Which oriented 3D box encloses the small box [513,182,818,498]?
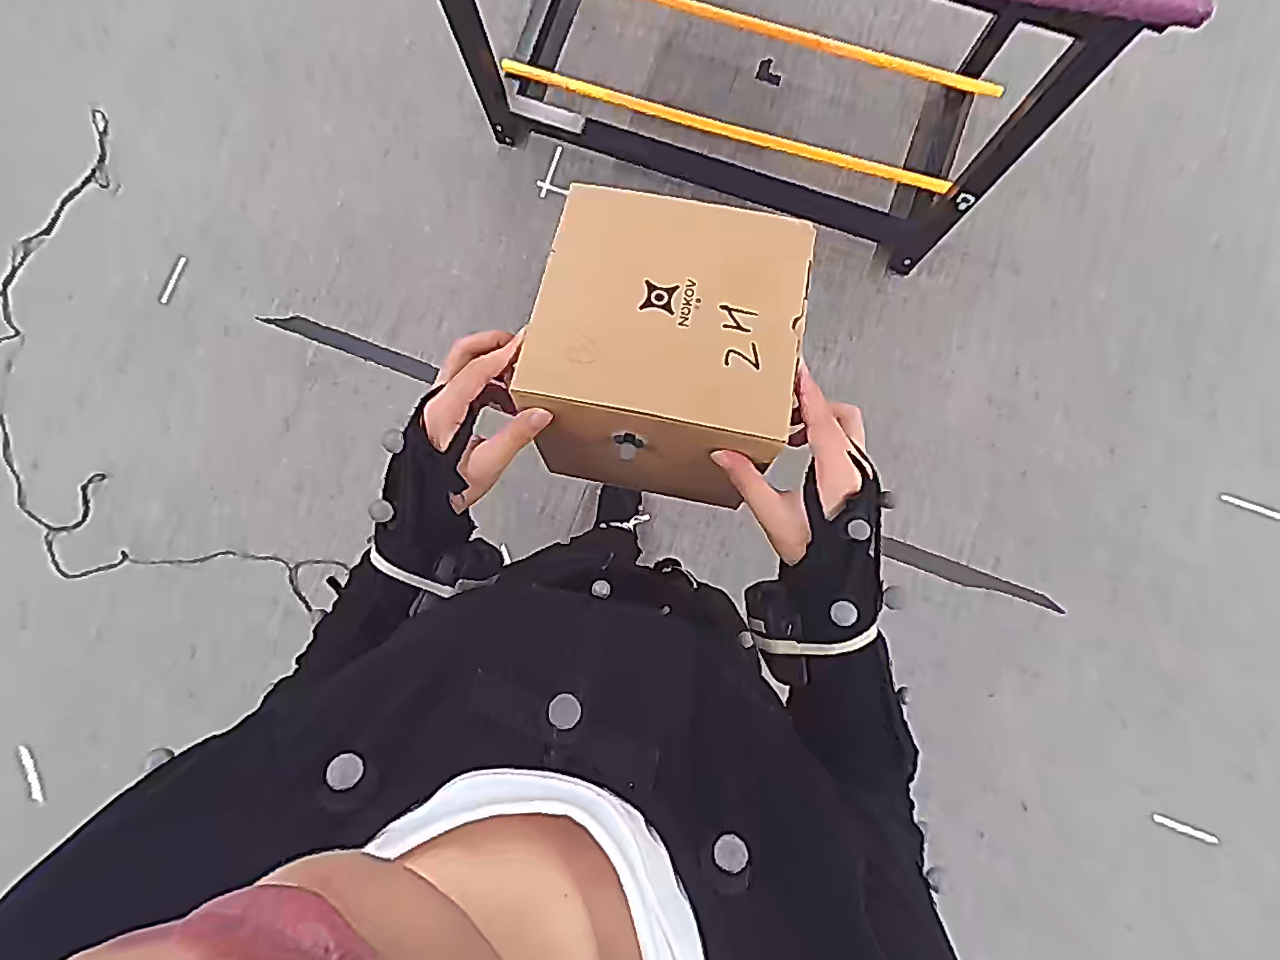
[{"bbox_3d":[0.021,-0.094,0.428,0.179,0.176,0.168,11,74,3],"label":"small box"}]
